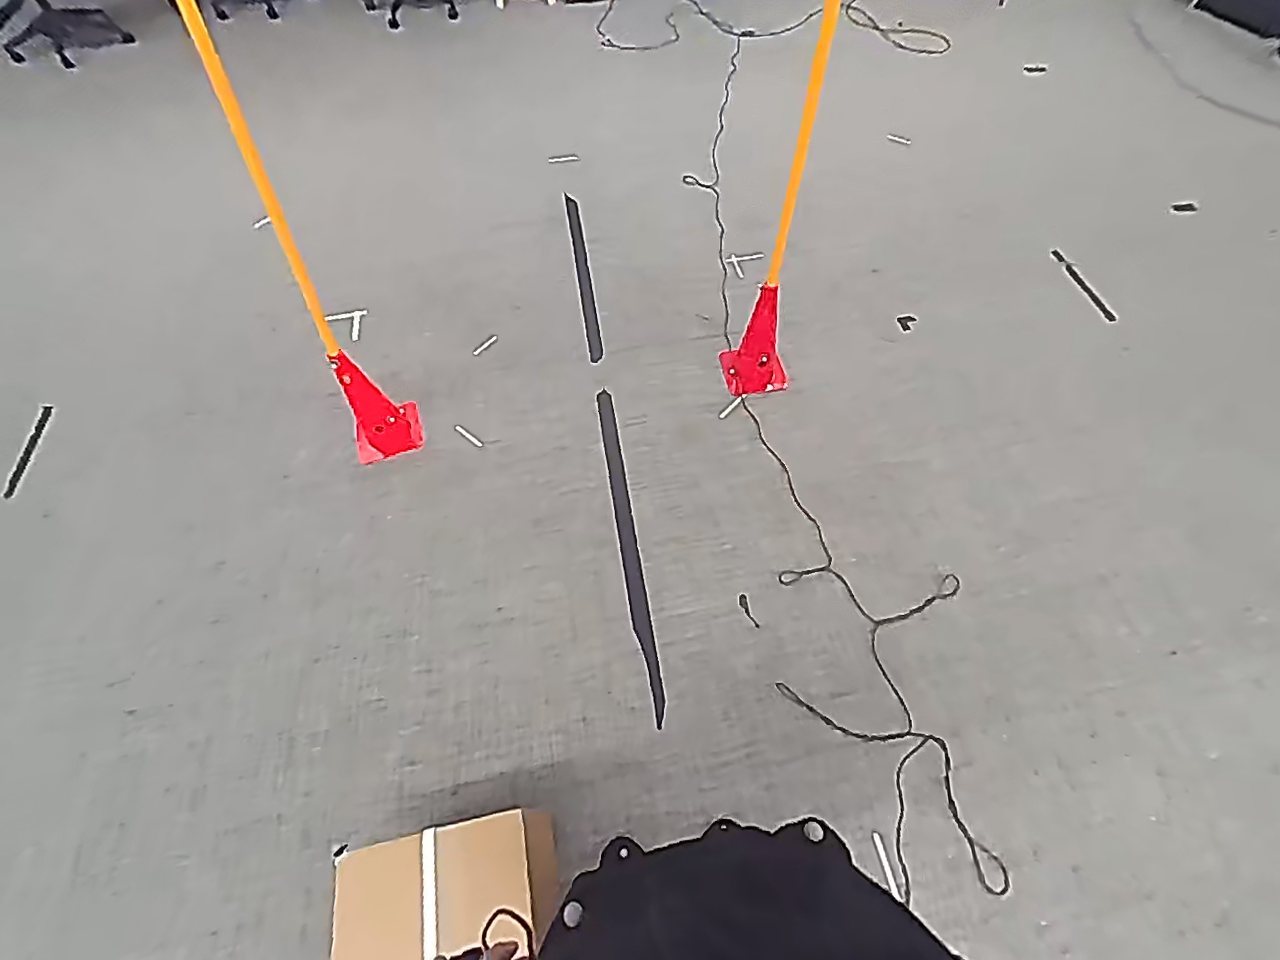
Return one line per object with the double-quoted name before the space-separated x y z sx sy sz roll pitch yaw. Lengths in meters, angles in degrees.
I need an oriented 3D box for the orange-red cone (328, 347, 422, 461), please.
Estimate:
"orange-red cone" -0.804 -0.245 1.577 0.199 0.360 0.198 -17 59 -8
